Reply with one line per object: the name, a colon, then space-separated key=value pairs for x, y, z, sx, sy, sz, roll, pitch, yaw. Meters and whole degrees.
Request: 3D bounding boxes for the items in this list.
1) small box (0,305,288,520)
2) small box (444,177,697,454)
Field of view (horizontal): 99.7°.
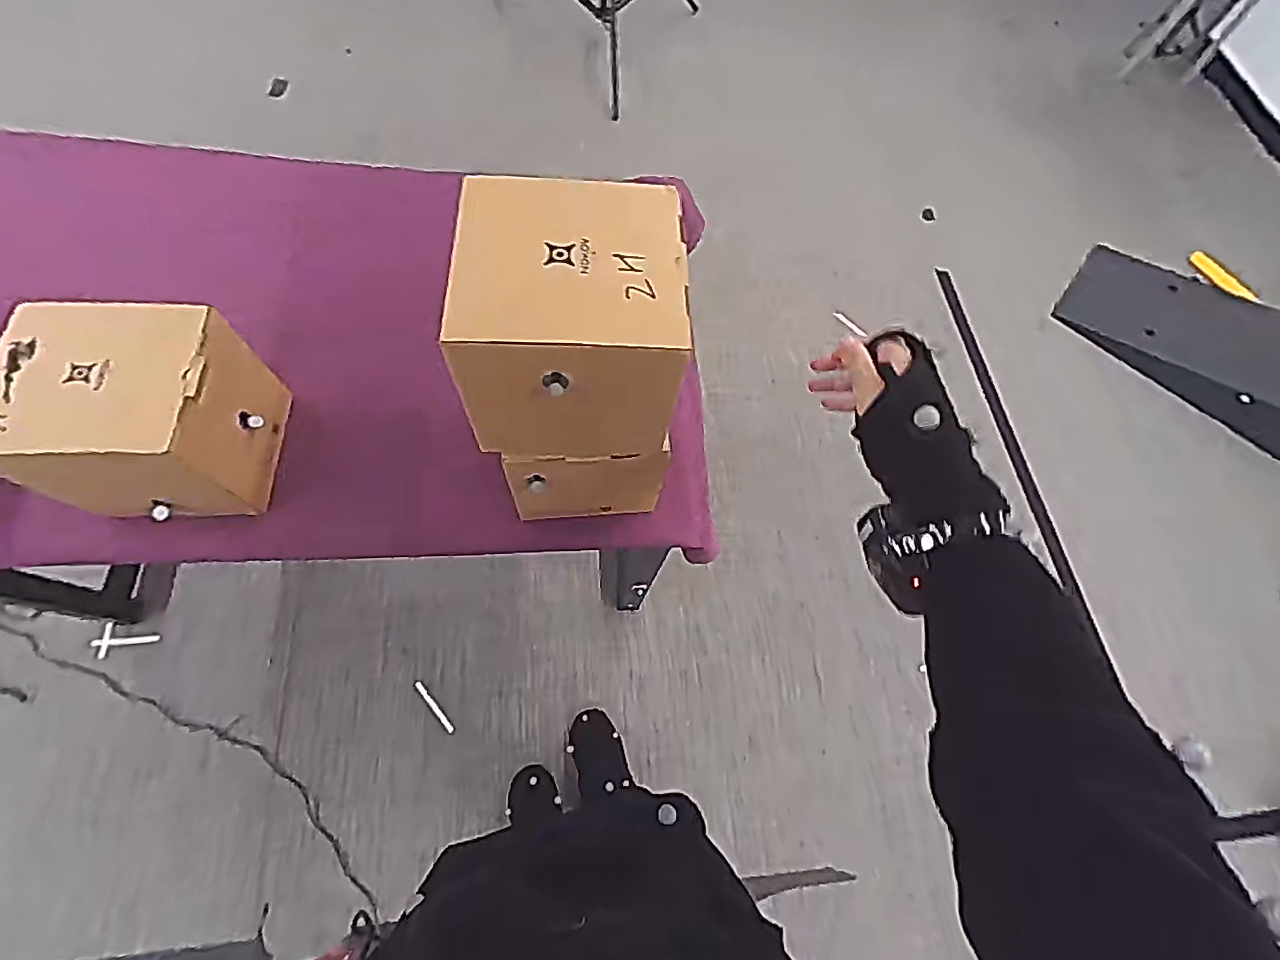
small box: x=-0.510 y=-0.060 z=0.570 sx=0.179 sy=0.176 sz=0.168 roll=0 pitch=67 yaw=-8
small box: x=-0.055 y=-0.131 z=0.474 sx=0.179 sy=0.176 sz=0.168 roll=1 pitch=66 yaw=-6
